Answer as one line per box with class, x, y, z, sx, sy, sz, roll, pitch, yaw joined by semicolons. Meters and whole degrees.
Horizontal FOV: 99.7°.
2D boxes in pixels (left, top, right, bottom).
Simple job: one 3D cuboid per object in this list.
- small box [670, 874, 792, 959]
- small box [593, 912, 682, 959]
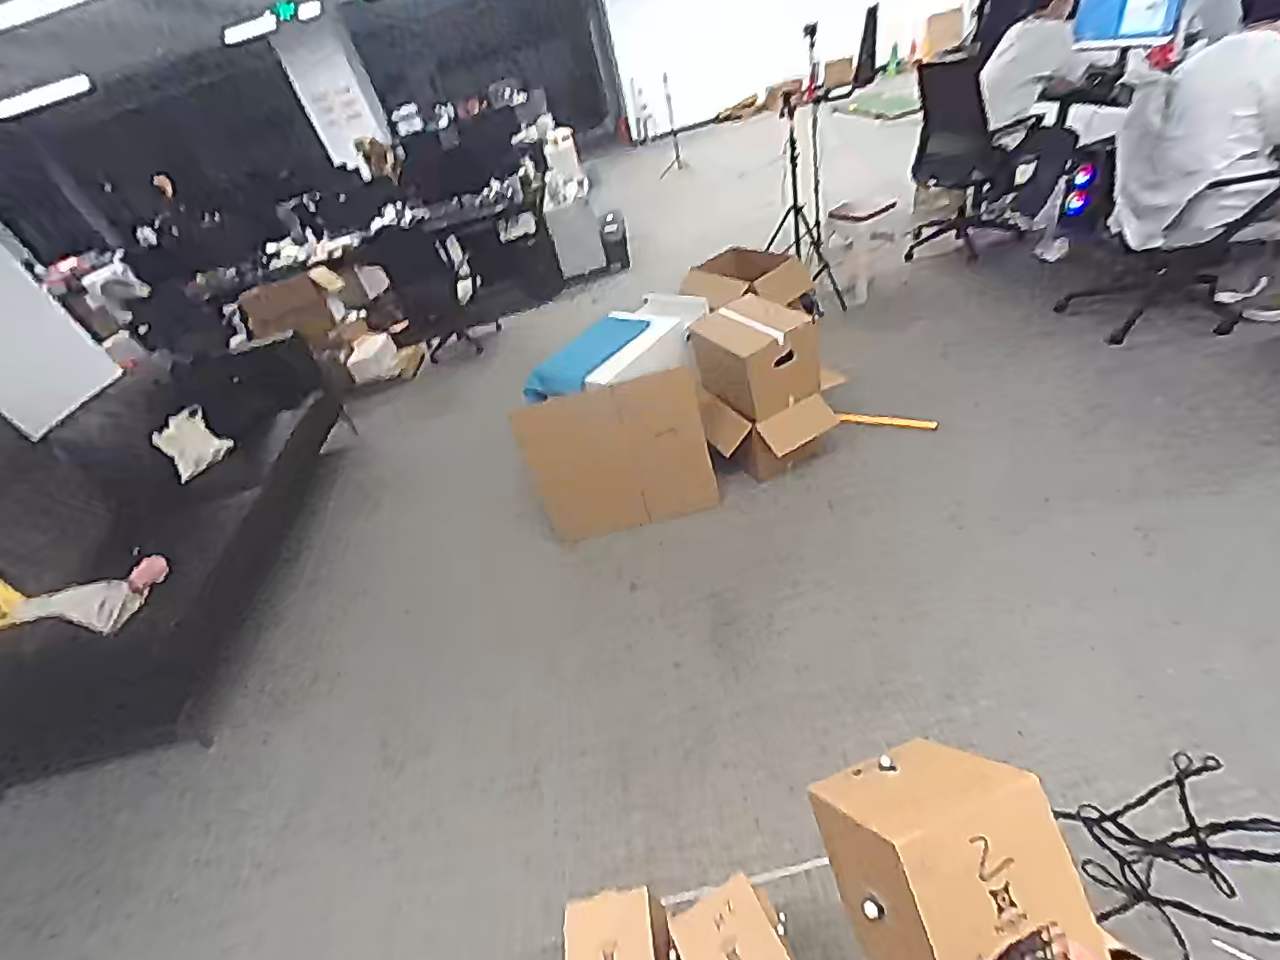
small box;0.178;0.859;0.963;0.168;0.176;0.179;-27;38;-10
small box;0.015;1.017;1.102;0.179;0.176;0.168;-17;38;3
